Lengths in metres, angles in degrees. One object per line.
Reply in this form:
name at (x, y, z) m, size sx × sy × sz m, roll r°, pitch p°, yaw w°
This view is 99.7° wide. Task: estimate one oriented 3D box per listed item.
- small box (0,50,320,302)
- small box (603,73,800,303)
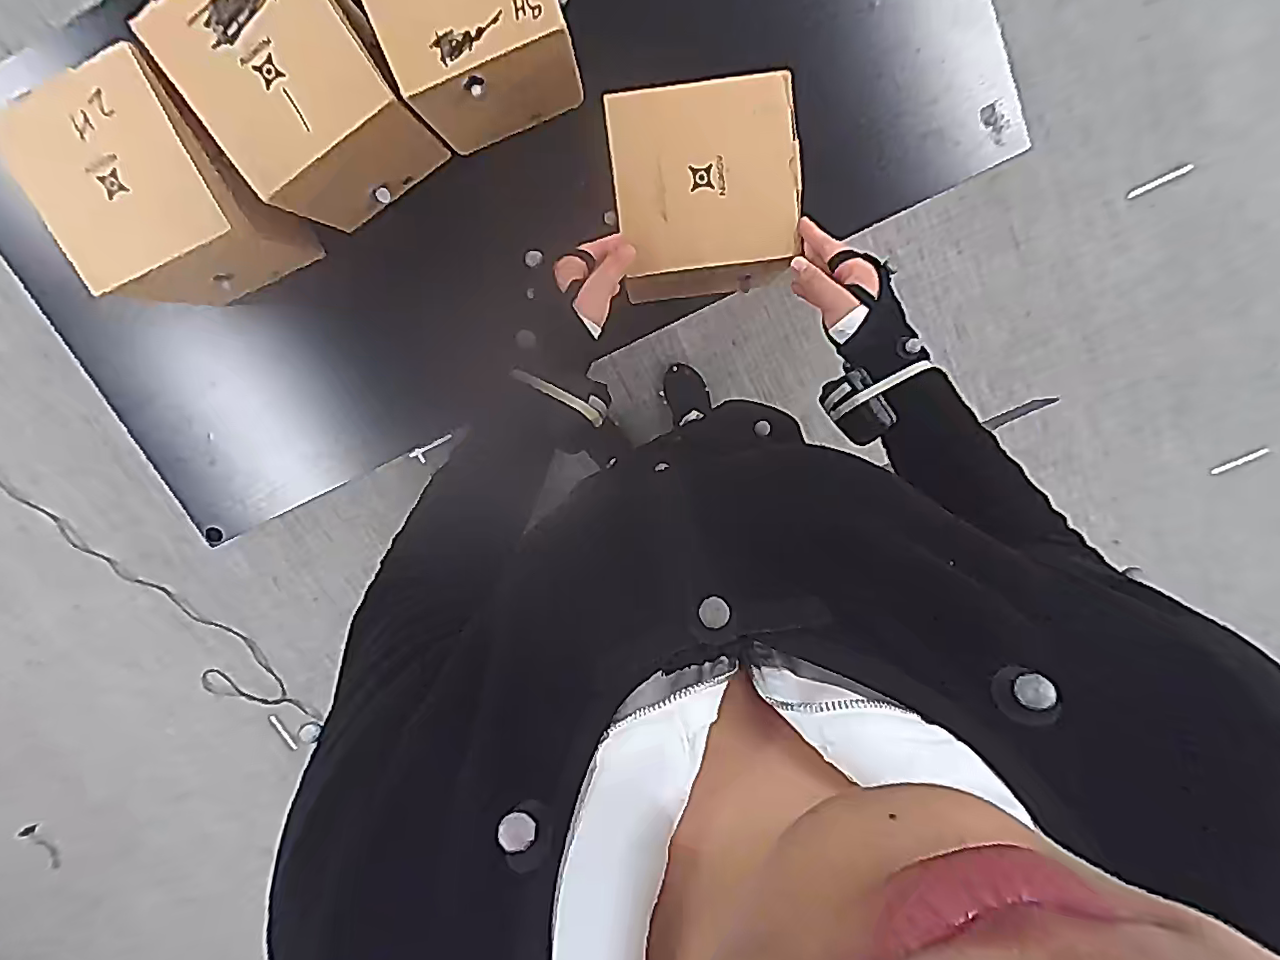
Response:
small box at (-0.504, -0.309, 0.599) m, size 0.168 × 0.176 × 0.179 m, roll -23°, pitch 103°, yaw 5°
small box at (0.061, -0.298, 0.591) m, size 0.179 × 0.176 × 0.168 m, roll -7°, pitch 98°, yaw 3°
